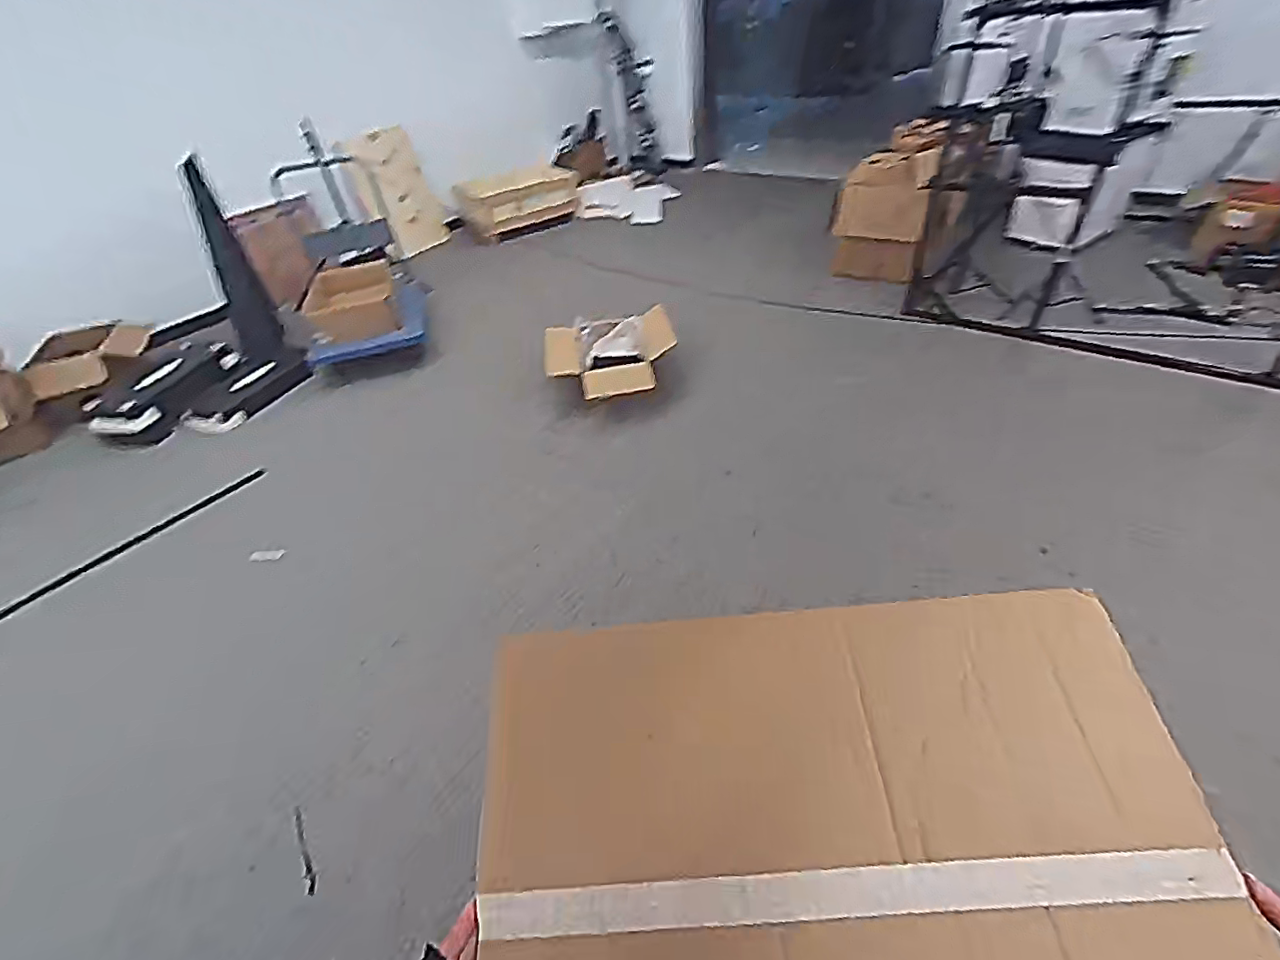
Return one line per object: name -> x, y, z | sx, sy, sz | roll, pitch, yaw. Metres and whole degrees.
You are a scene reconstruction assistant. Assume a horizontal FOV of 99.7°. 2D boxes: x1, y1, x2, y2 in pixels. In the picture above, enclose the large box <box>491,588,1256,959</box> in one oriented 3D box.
large box -> 0.125, 0.303, 0.433 | 0.408, 0.320, 0.320 | -6, 60, 3
